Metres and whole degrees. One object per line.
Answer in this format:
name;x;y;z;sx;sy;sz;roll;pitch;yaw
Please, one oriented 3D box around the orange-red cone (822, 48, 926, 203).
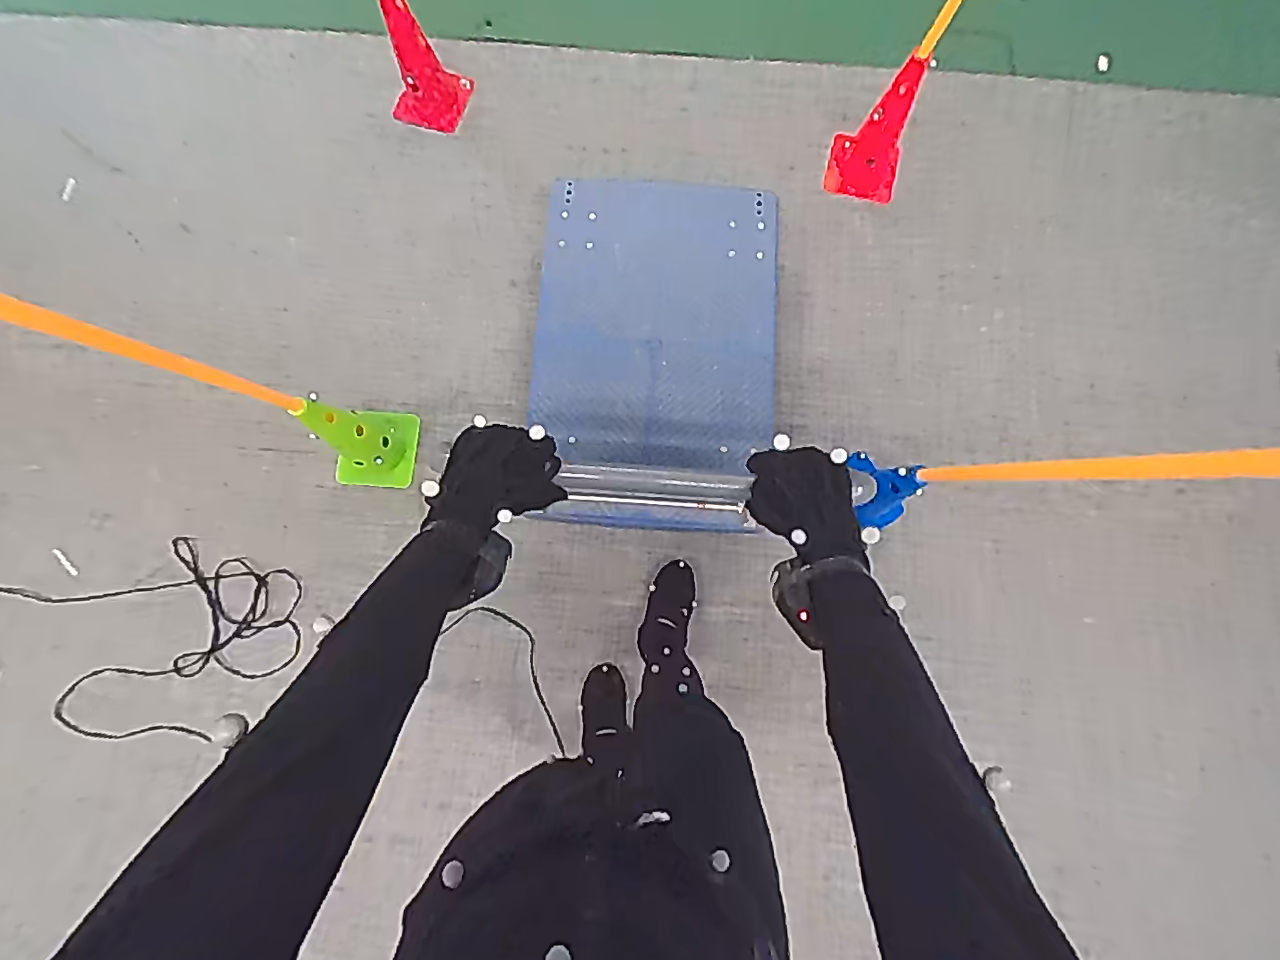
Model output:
orange-red cone;0.641;-0.941;1.411;0.198;0.360;0.199;16;80;4
